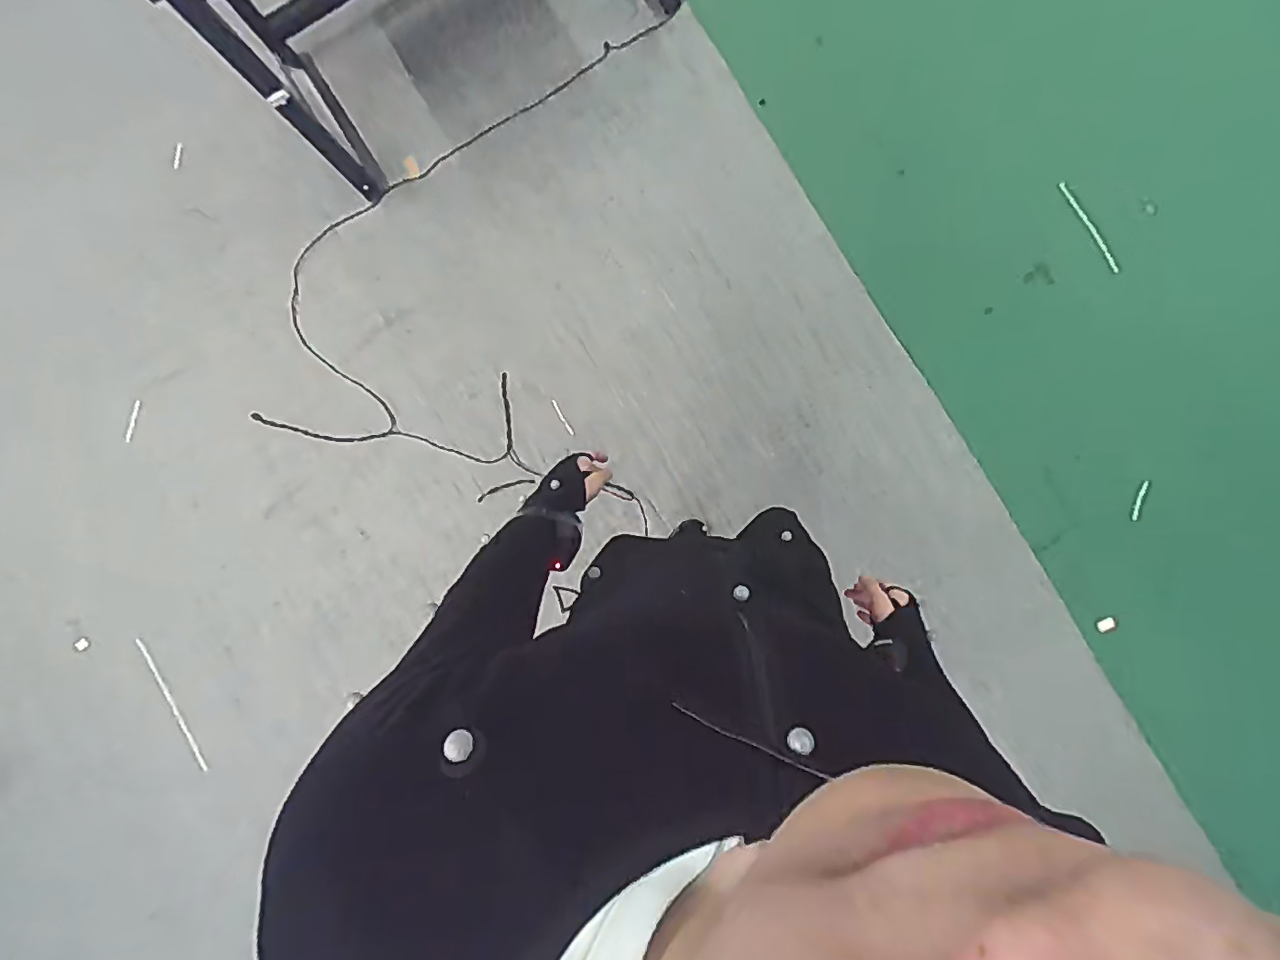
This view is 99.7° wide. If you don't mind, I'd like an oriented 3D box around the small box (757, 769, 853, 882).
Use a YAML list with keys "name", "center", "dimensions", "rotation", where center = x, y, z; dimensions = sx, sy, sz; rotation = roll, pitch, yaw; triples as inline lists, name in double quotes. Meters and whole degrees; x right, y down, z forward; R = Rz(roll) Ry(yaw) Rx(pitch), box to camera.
- name: "small box"
  center: [0.435, 0.919, 1.462]
  dimensions: [0.168, 0.176, 0.179]
  rotation: [-30, 87, 1]
